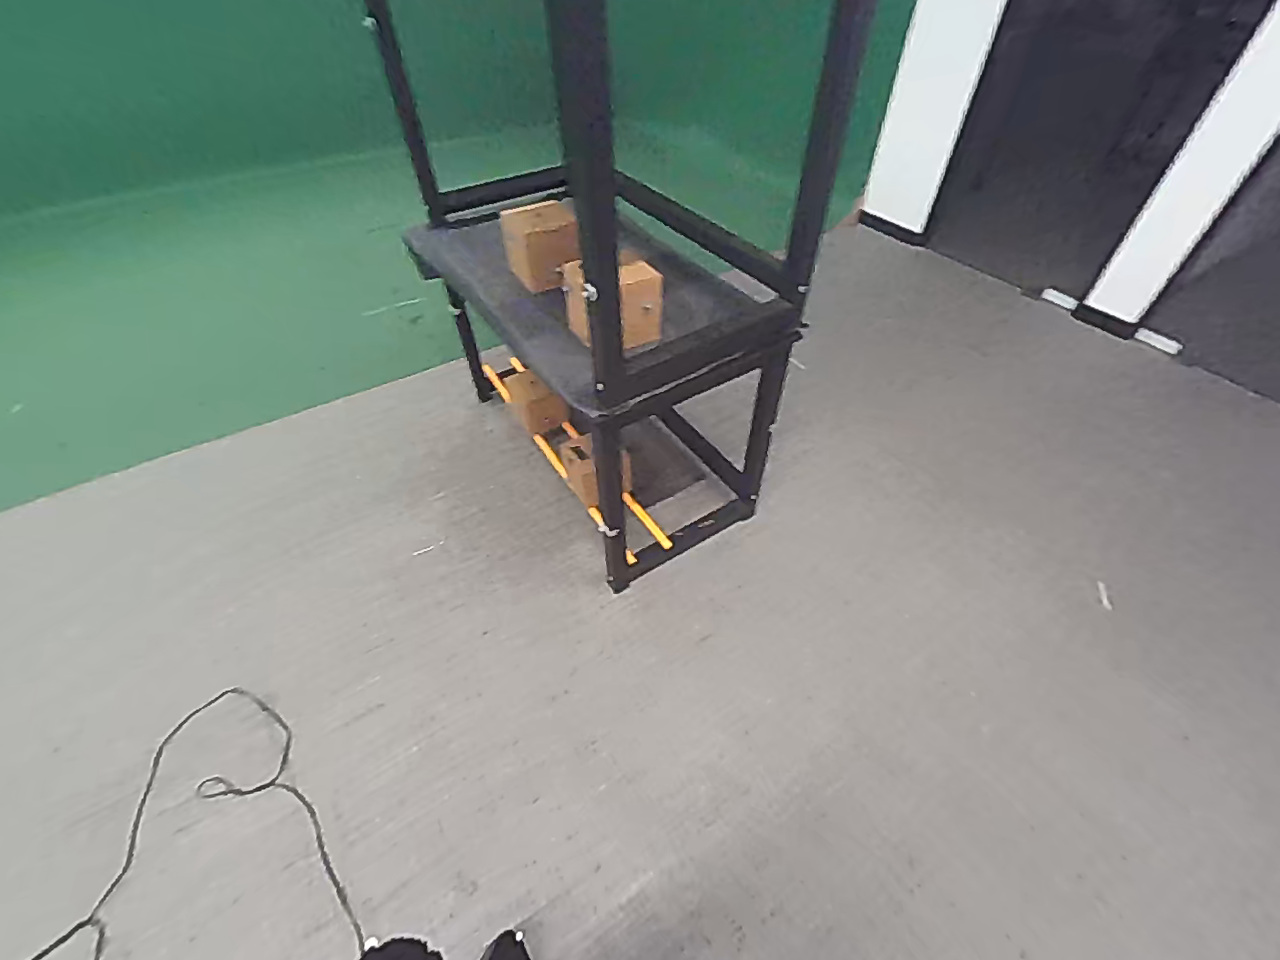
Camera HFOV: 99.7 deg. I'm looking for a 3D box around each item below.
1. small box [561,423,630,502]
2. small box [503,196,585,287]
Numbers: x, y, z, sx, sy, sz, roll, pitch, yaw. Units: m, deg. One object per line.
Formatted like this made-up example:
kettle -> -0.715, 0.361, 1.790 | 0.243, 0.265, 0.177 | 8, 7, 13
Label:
small box -> -0.142, -0.054, 1.799 | 0.179, 0.176, 0.168 | -23, 52, -19
small box -> -0.266, -0.669, 1.519 | 0.168, 0.176, 0.179 | -23, 52, -19
